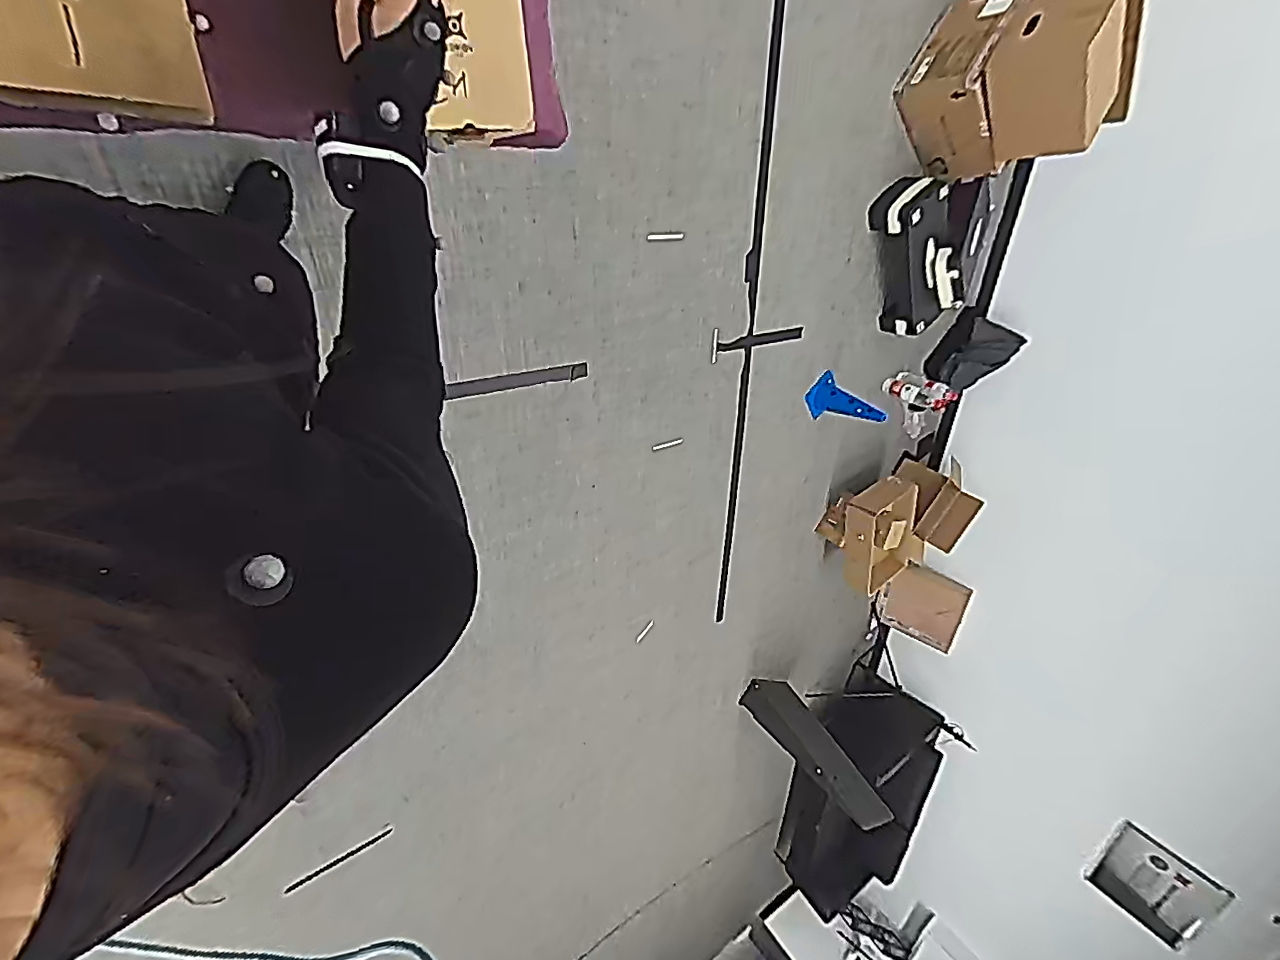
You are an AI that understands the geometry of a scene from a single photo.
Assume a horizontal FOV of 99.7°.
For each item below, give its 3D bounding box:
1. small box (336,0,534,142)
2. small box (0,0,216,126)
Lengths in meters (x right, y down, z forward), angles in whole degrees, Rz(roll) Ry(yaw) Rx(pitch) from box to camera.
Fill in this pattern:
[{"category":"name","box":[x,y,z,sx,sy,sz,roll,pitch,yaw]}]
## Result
[{"category":"small box","box":[-0.244,-0.509,0.639,0.168,0.176,0.179,-20,125,-28]},{"category":"small box","box":[-0.503,-0.432,0.479,0.168,0.176,0.179,-15,123,-32]}]
